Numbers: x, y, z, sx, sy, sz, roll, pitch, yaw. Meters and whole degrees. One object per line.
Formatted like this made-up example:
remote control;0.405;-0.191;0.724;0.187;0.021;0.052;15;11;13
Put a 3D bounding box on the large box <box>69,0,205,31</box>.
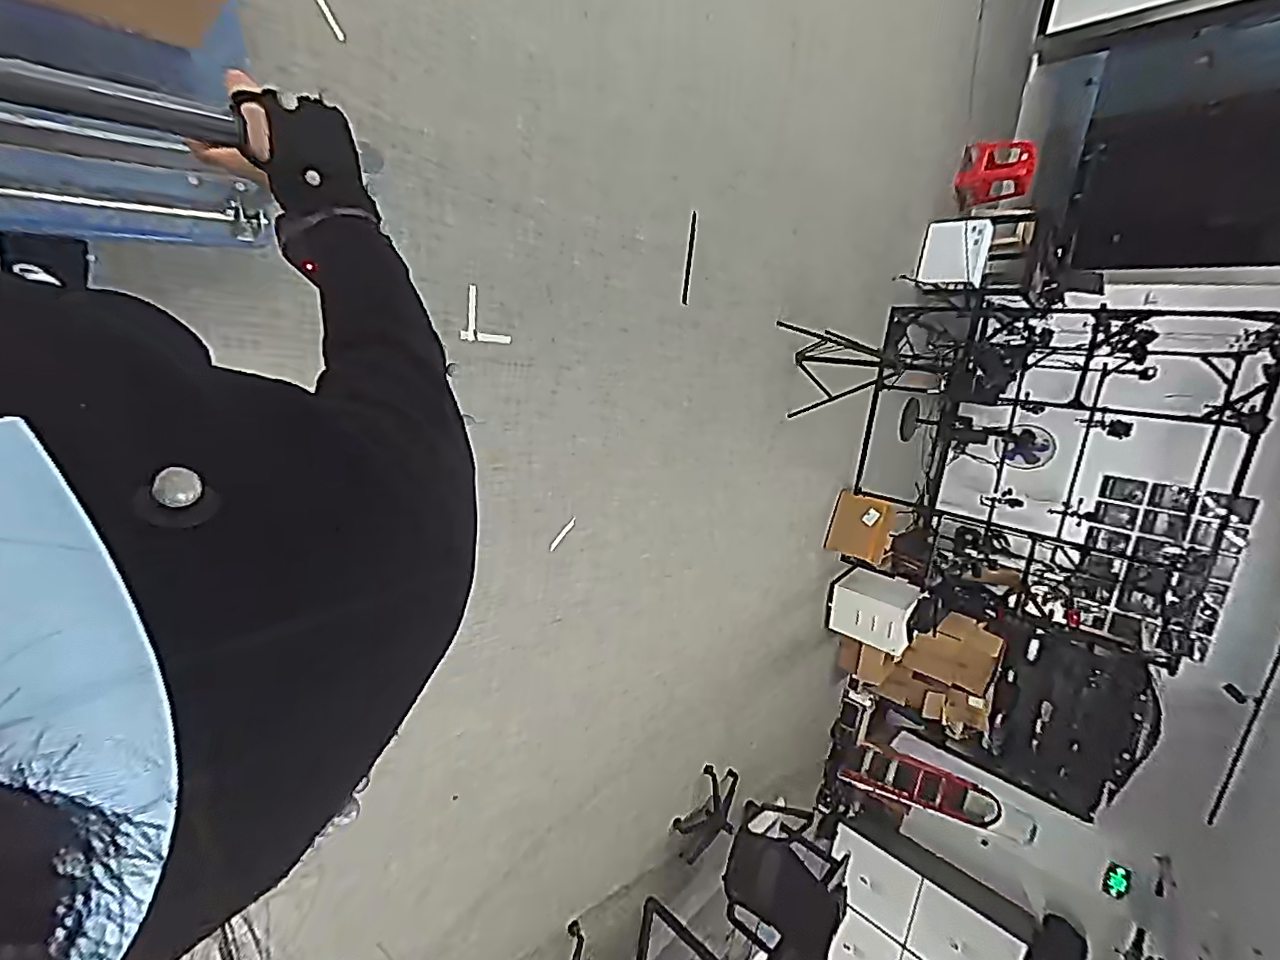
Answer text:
large box;-0.810;-0.837;0.657;0.408;0.320;0.320;-15;114;-44
